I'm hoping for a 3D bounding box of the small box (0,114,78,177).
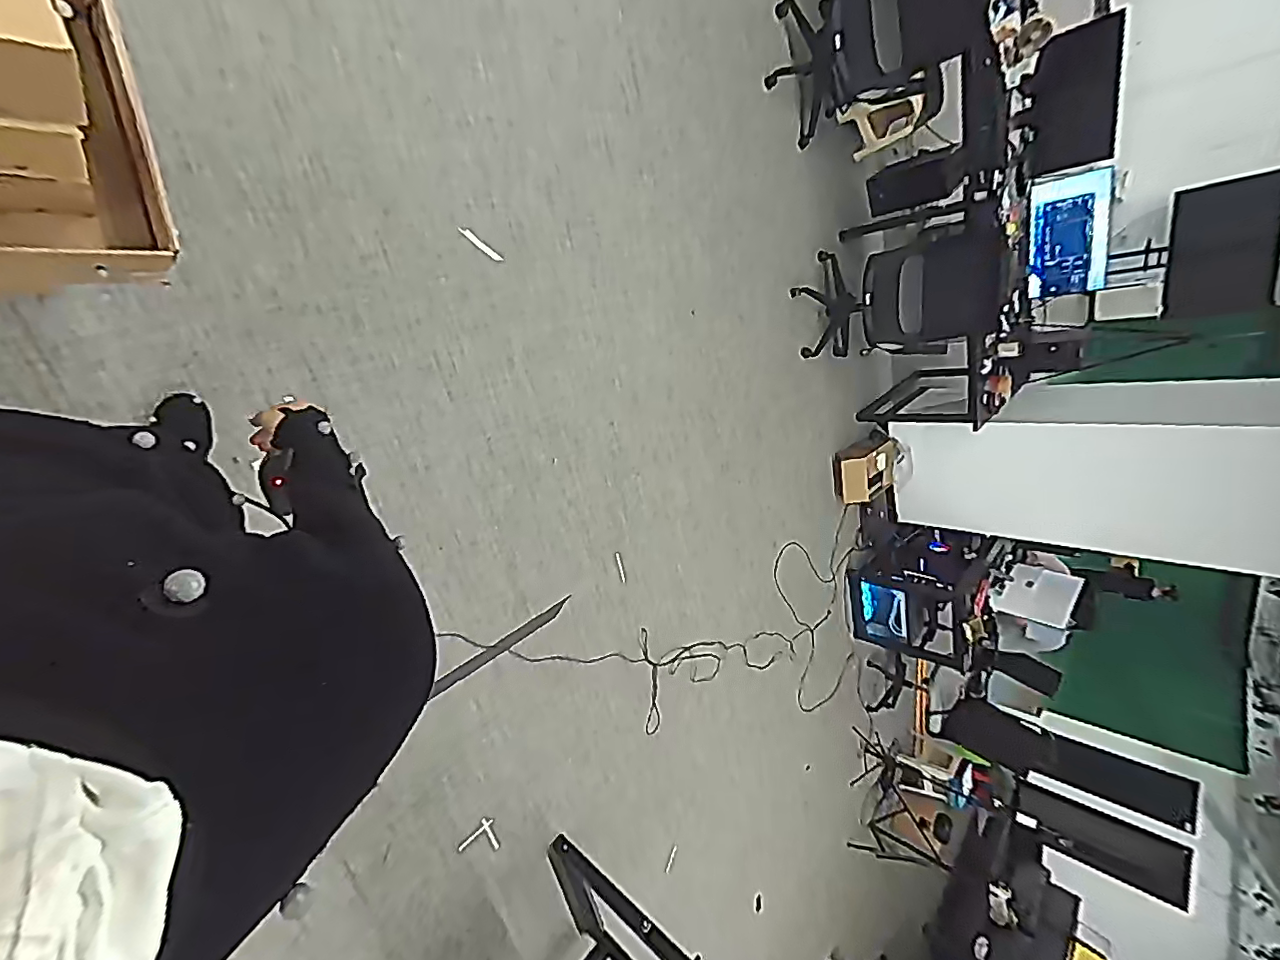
[{"bbox_3d":[-0.777,-0.463,0.608,0.168,0.176,0.179,-21,108,-41],"label":"small box"}]

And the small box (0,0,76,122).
[{"bbox_3d":[-0.663,-0.454,0.490,0.179,0.176,0.168,-23,109,-40],"label":"small box"}]
